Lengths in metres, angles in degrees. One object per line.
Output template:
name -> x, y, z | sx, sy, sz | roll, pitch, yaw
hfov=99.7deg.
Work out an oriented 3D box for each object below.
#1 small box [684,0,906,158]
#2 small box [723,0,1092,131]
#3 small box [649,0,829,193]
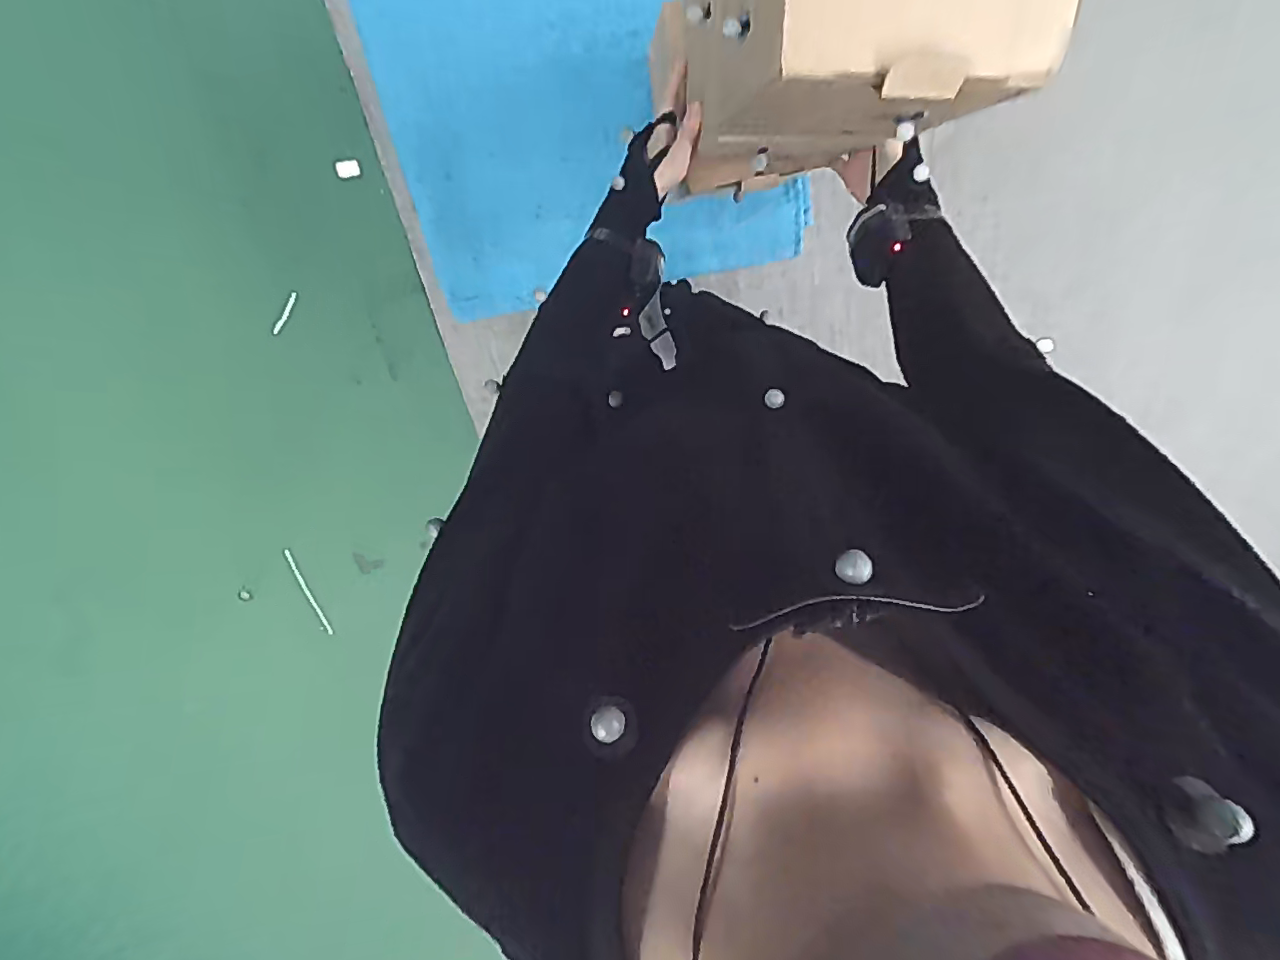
small box -> 0.135, -0.395, 0.482 | 0.168, 0.176, 0.179 | -4, 113, -4
small box -> 0.152, -0.331, 0.333 | 0.168, 0.176, 0.179 | -2, 113, -6
small box -> 0.109, -0.447, 0.635 | 0.168, 0.176, 0.179 | -12, 115, -2
